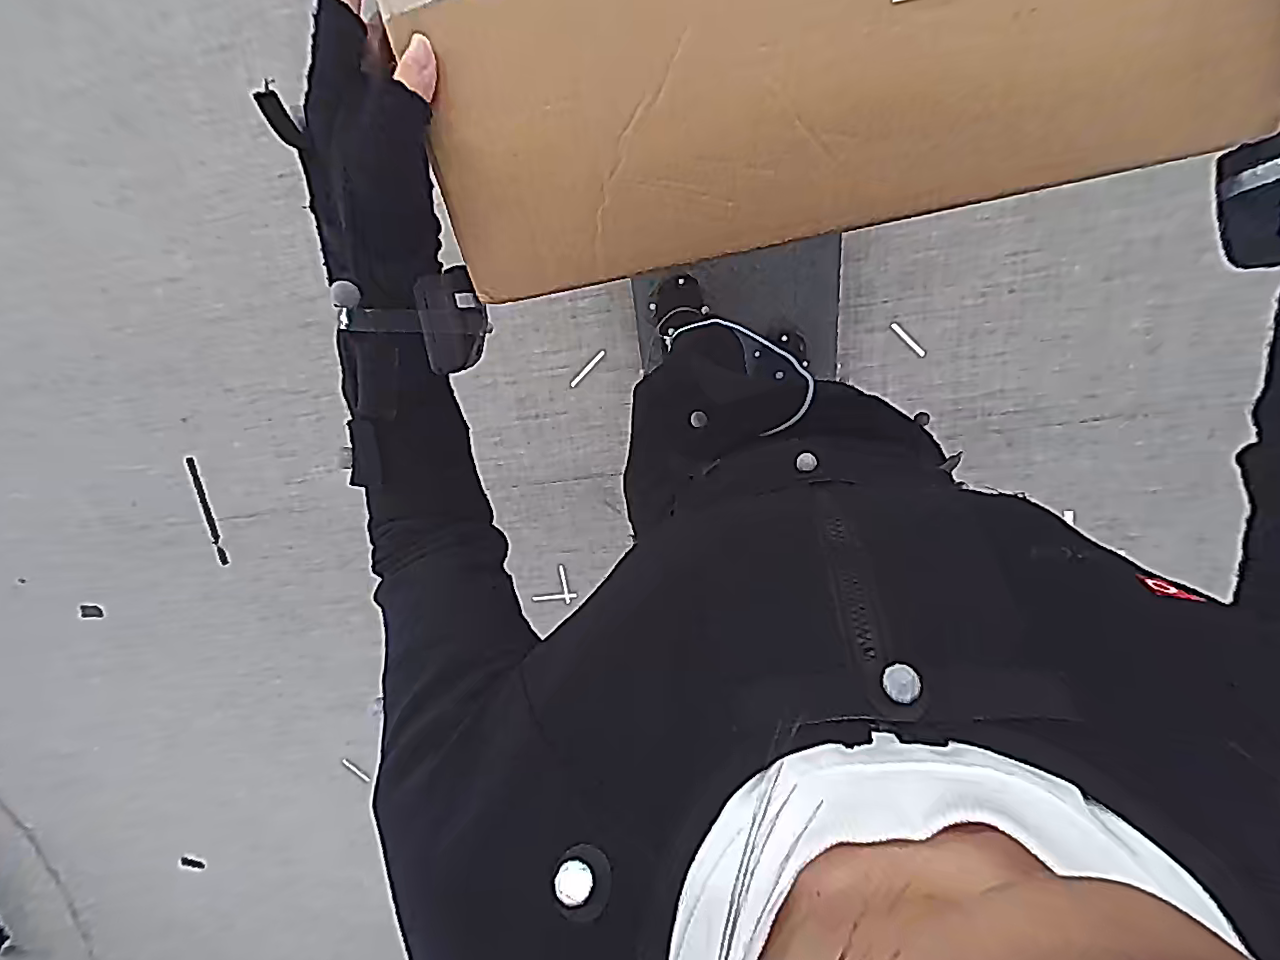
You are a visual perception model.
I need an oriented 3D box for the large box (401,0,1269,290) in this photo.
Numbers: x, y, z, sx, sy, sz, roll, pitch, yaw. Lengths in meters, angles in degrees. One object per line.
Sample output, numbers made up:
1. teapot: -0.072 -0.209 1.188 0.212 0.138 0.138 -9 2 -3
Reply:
1. large box: 0.083 -0.349 0.370 0.408 0.320 0.320 -8 116 13
